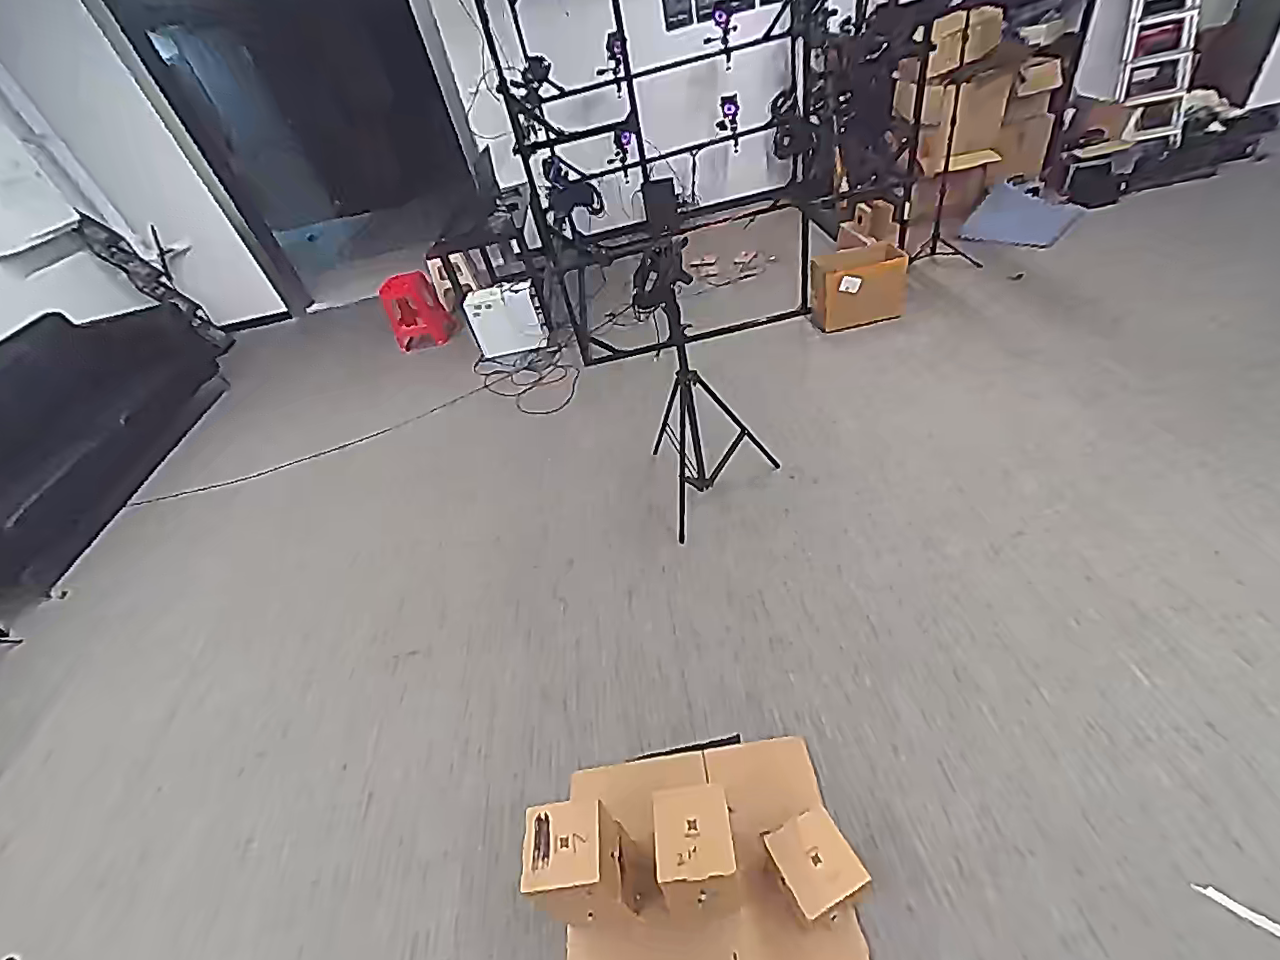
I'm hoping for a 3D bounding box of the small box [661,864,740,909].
[{"bbox_3d":[0.145,0.927,1.322,0.179,0.176,0.168,-10,42,5],"label":"small box"}]

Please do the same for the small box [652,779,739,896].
[{"bbox_3d":[0.123,0.803,1.215,0.168,0.176,0.179,-10,42,5],"label":"small box"}]

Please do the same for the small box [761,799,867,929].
[{"bbox_3d":[0.403,0.903,1.271,0.168,0.176,0.179,-25,41,-10],"label":"small box"}]

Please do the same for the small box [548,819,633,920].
[{"bbox_3d":[-0.116,0.971,1.347,0.179,0.176,0.168,-12,41,5],"label":"small box"}]
